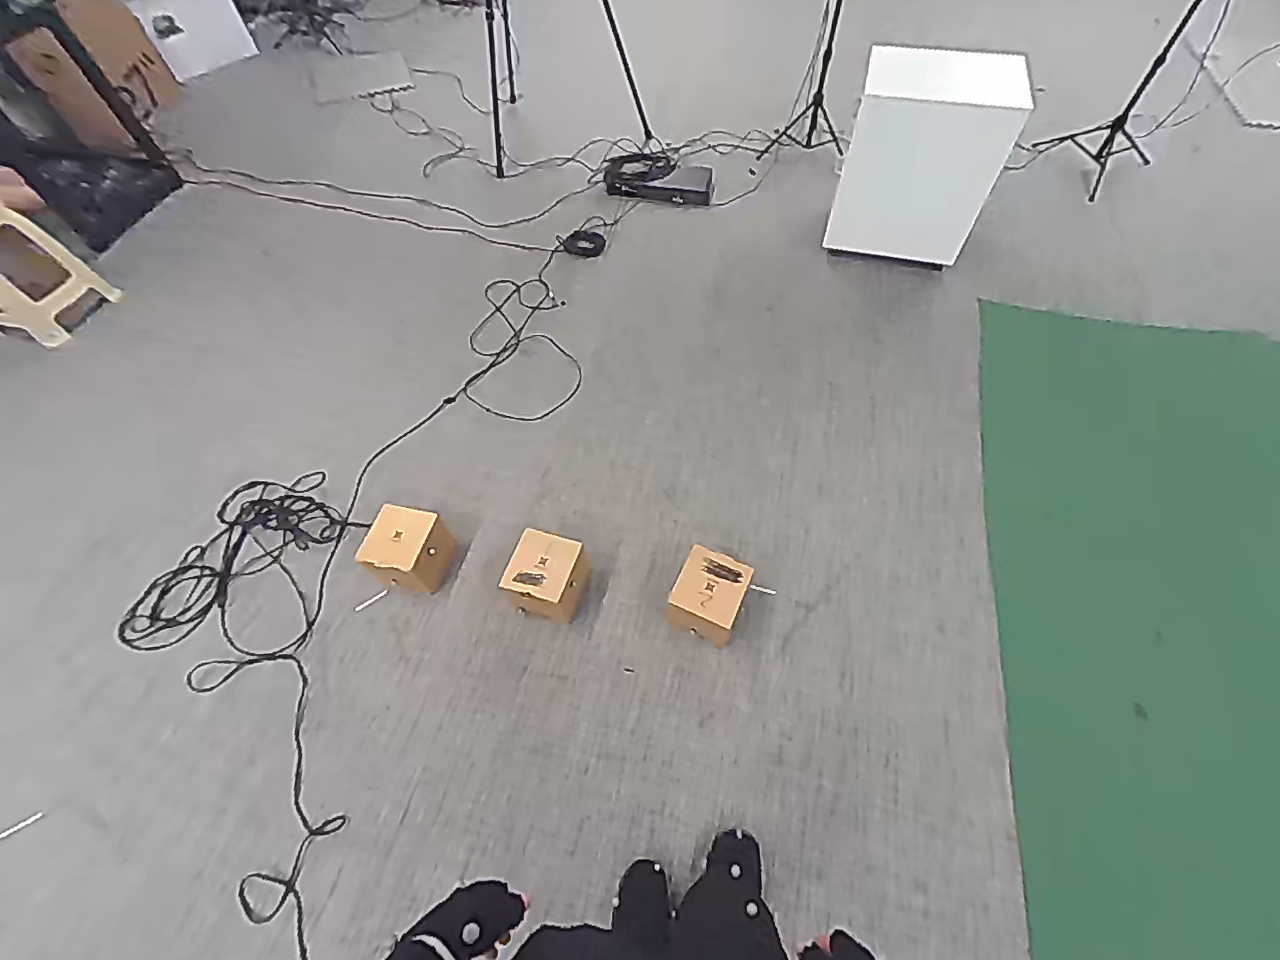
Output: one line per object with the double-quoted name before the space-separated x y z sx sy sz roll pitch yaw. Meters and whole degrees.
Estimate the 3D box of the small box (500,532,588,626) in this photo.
"small box" -0.248 0.271 1.451 0.168 0.176 0.179 14 58 12

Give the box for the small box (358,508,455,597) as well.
"small box" -0.641 0.206 1.513 0.168 0.176 0.179 10 59 9
